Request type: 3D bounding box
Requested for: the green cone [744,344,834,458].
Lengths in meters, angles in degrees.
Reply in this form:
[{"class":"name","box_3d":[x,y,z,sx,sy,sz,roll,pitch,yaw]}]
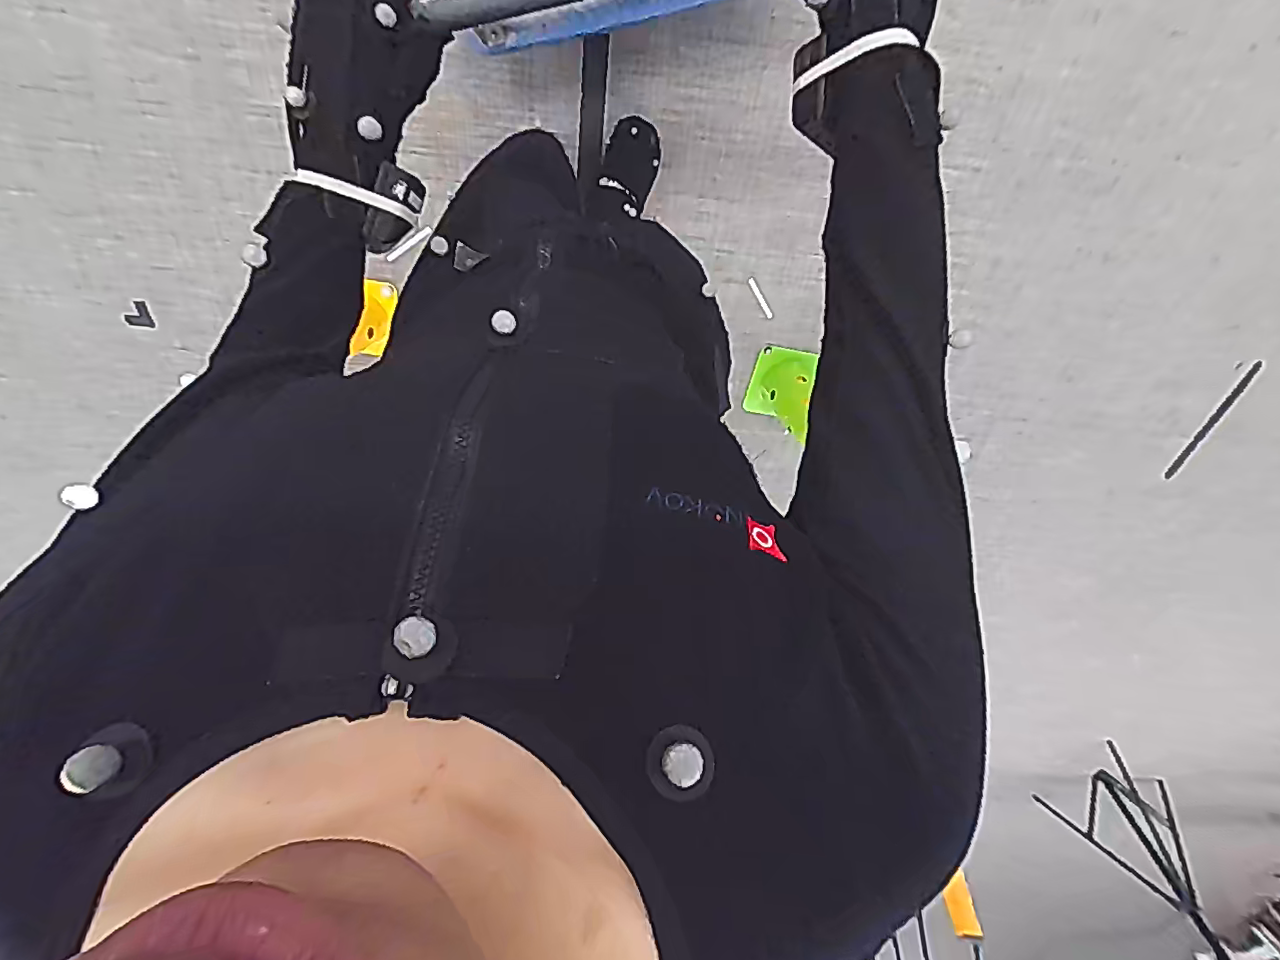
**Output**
[{"class":"green cone","box_3d":[0.407,-0.169,1.359,0.202,0.368,0.200,7,126,-7]}]
